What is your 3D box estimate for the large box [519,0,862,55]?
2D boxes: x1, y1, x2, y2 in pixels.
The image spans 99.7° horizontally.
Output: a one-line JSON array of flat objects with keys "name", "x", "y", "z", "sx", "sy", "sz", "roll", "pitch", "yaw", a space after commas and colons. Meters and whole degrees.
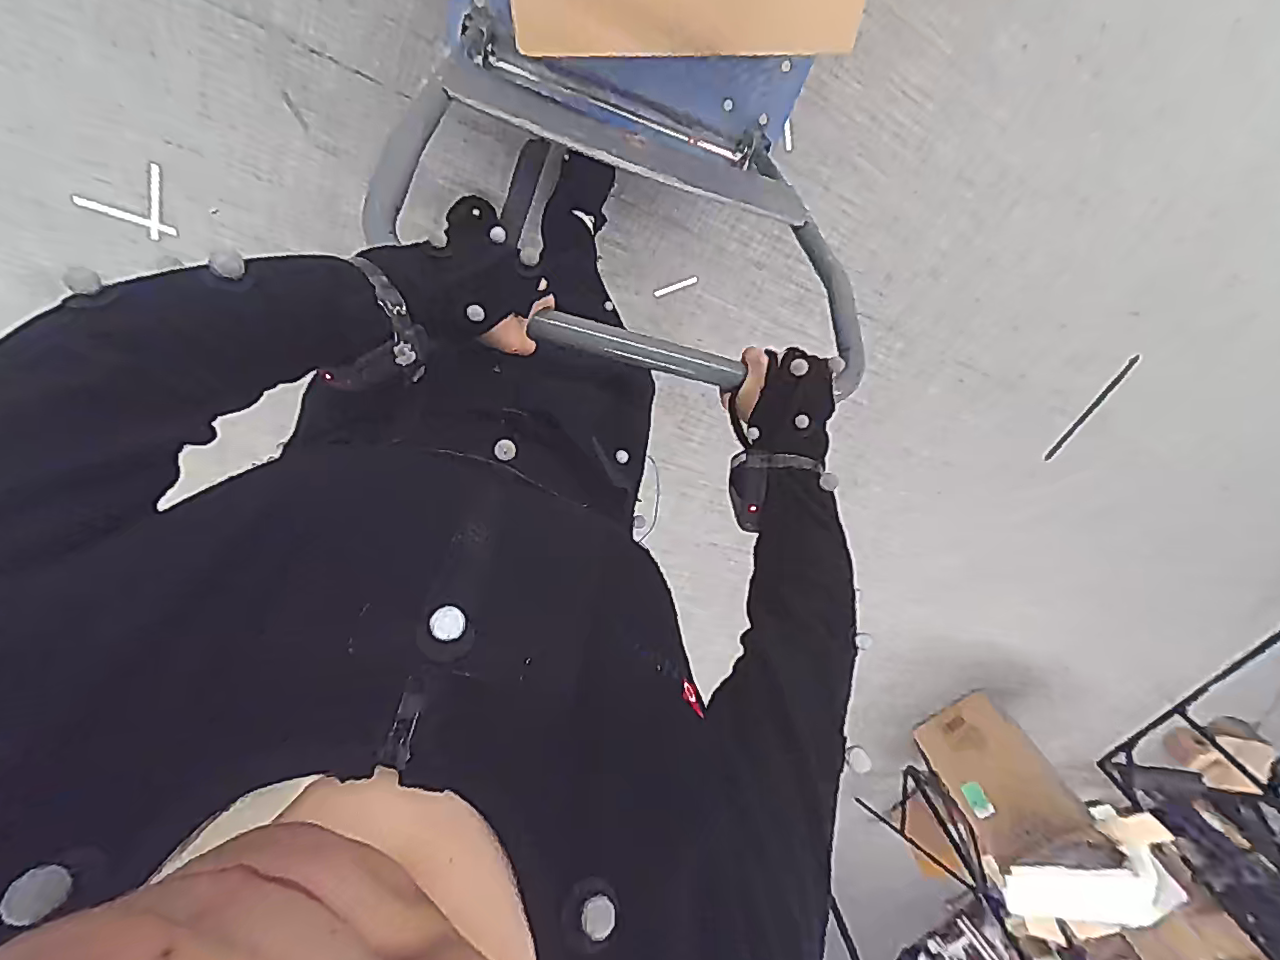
[{"name": "large box", "x": 0.044, "y": -0.729, "z": 0.643, "sx": 0.408, "sy": 0.320, "sz": 0.320, "roll": -4, "pitch": 136, "yaw": -4}]
